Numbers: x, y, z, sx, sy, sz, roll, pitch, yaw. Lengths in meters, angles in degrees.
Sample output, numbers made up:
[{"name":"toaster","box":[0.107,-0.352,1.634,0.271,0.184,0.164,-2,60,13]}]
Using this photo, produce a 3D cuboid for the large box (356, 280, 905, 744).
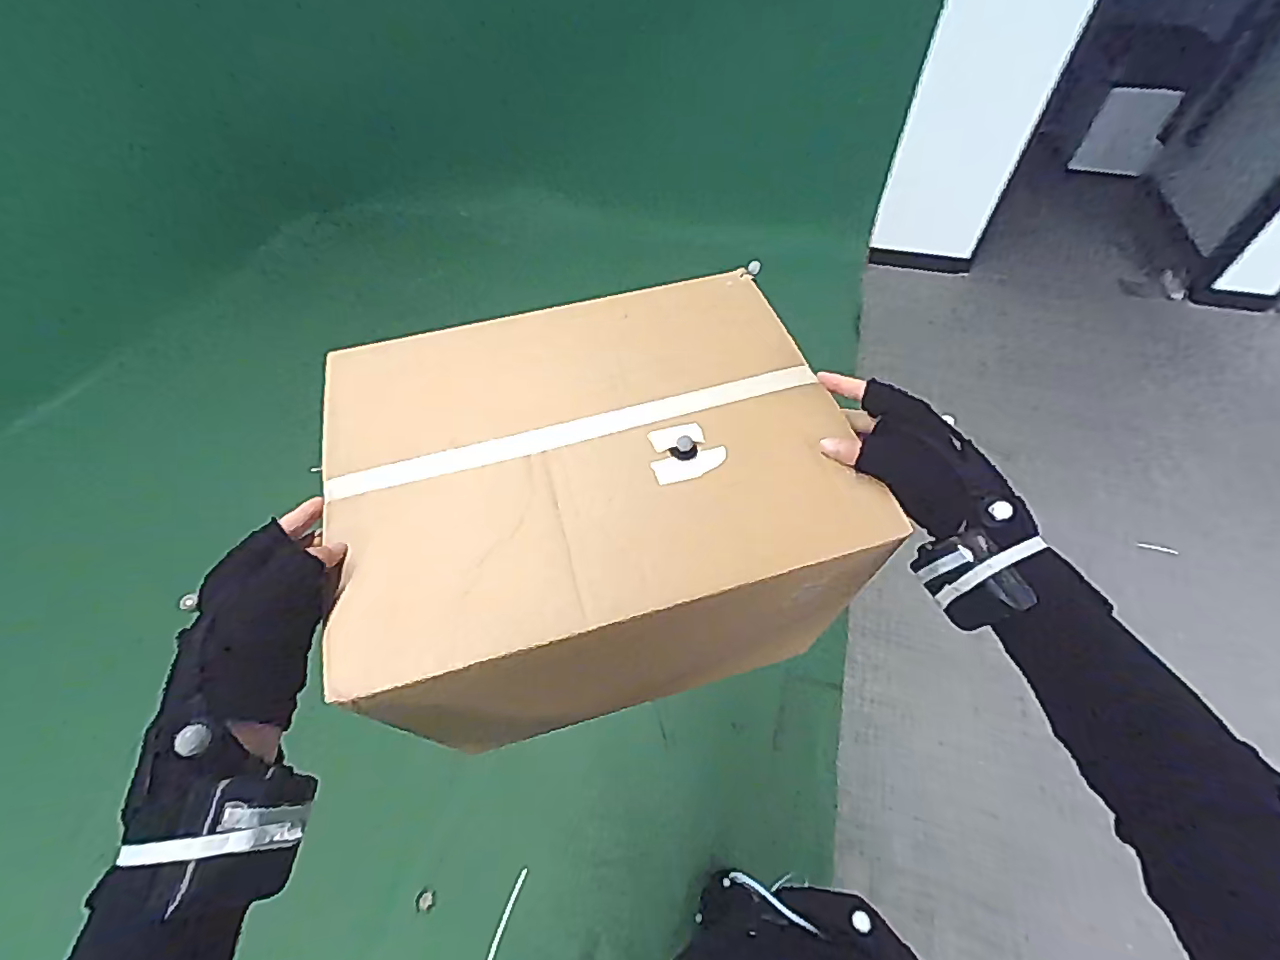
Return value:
[{"name":"large box","box":[-0.031,0.042,0.576,0.408,0.320,0.320,-14,59,-9]}]
